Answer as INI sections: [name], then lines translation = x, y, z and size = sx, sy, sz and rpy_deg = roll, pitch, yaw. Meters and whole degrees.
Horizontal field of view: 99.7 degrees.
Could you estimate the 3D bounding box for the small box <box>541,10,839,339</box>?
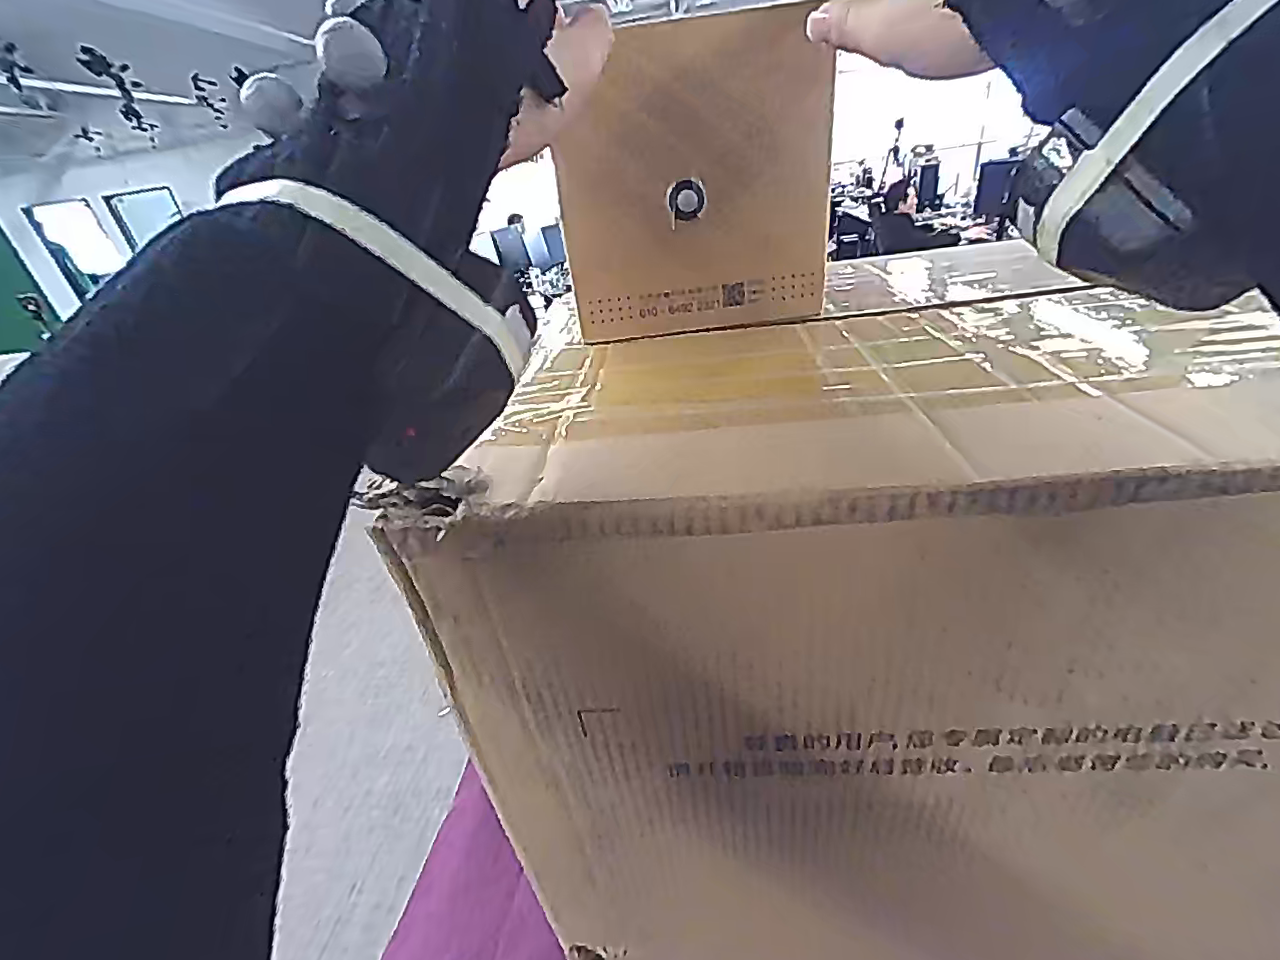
[small box]
translation = 0.033, -0.208, 0.399
size = 0.168, 0.176, 0.179
rpy_deg = -6, 30, 1
